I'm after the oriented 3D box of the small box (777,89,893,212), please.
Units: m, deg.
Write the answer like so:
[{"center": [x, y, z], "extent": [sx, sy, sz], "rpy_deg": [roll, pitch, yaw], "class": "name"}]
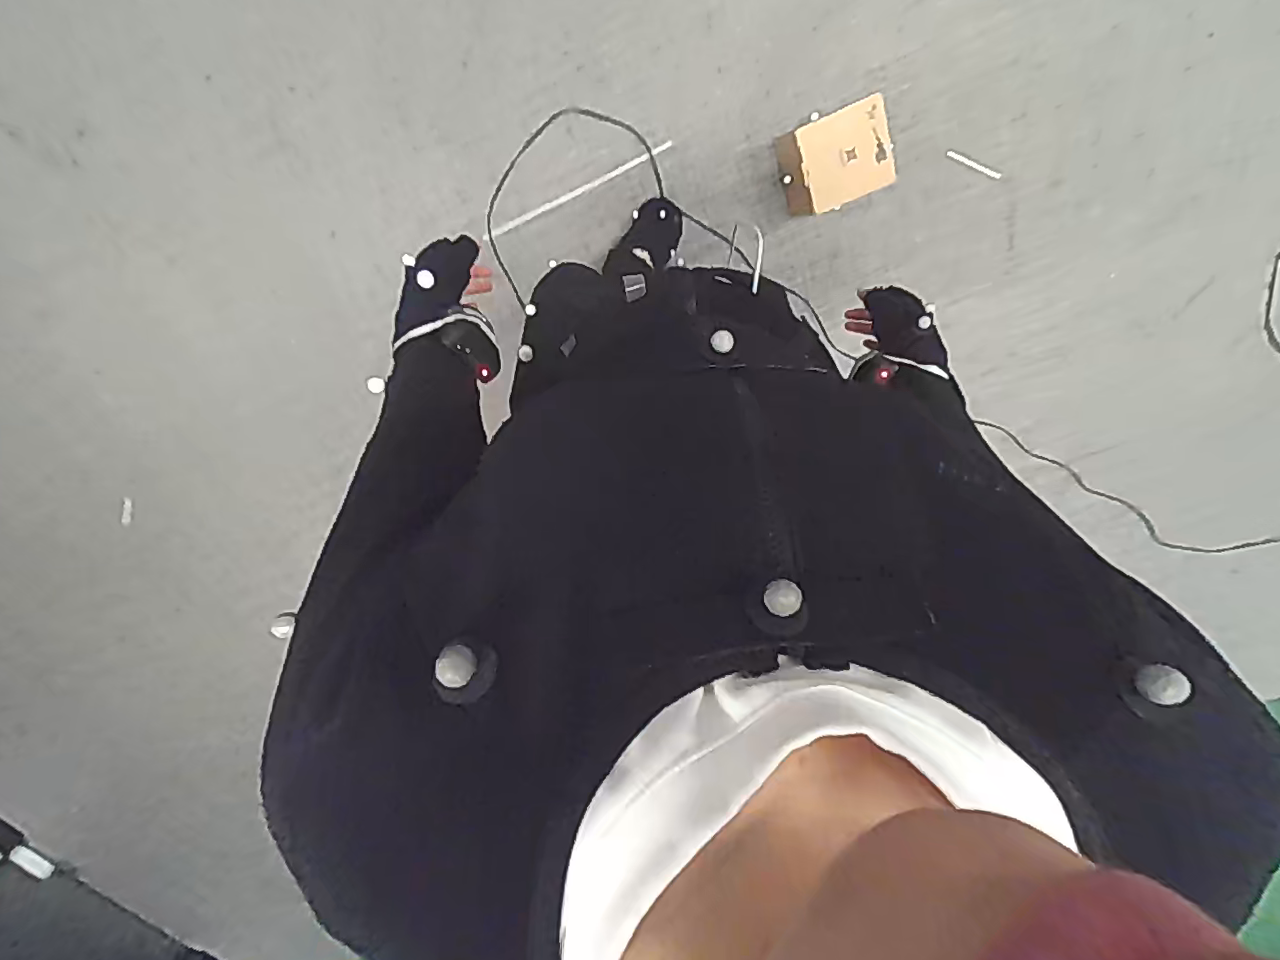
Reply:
[{"center": [0.403, -0.683, 1.145], "extent": [0.179, 0.176, 0.168], "rpy_deg": [-21, 115, 8], "class": "small box"}]
